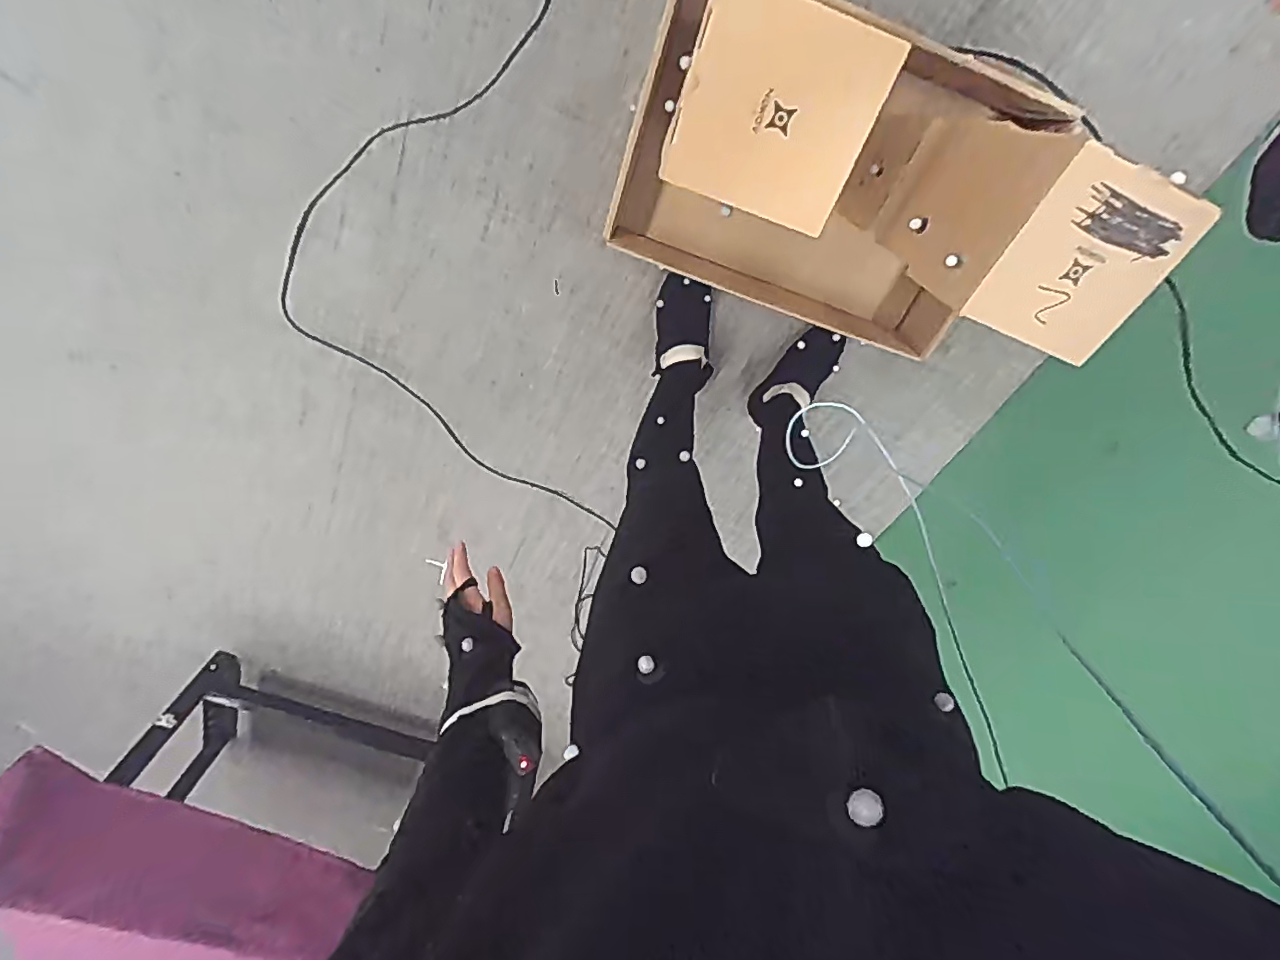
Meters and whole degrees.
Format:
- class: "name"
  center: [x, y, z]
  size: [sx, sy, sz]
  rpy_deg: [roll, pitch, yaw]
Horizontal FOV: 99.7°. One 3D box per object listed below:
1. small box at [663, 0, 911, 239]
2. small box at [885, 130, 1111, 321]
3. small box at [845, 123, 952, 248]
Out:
- class: "small box"
  center: [0.135, -0.380, 0.564]
  size: [0.179, 0.176, 0.168]
  rpy_deg: [18, 125, -7]
- class: "small box"
  center: [0.469, -0.355, 0.750]
  size: [0.168, 0.176, 0.179]
  rpy_deg: [21, 122, -10]
- class: "small box"
  center: [0.467, -0.453, 0.883]
  size: [0.179, 0.176, 0.168]
  rpy_deg: [22, 123, -9]
